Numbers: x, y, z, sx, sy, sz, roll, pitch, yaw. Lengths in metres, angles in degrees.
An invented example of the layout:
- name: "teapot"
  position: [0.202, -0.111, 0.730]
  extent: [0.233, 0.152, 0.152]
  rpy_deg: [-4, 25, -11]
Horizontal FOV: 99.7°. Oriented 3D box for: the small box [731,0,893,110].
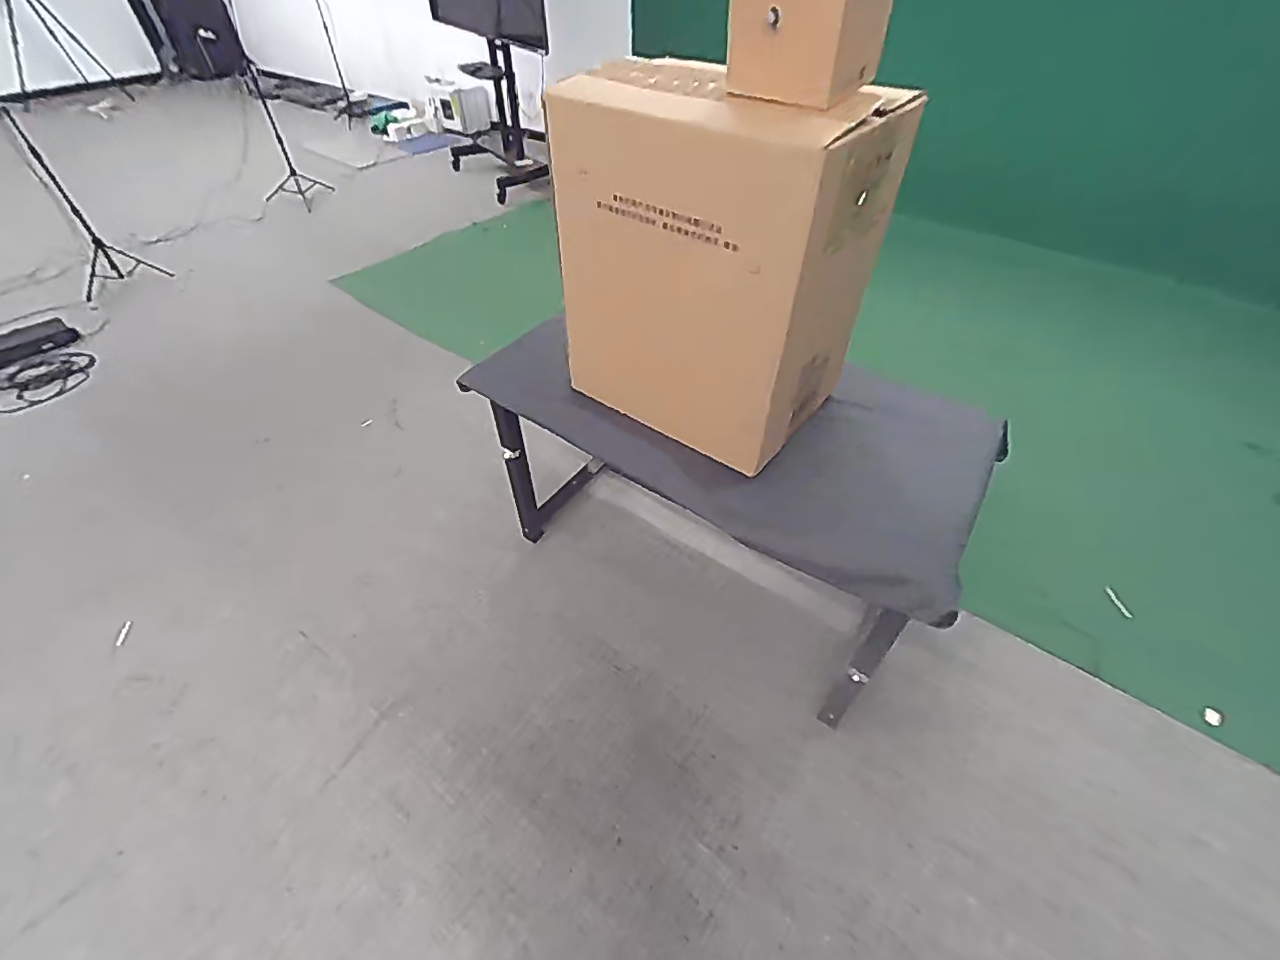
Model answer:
- name: "small box"
  position: [0.248, -0.664, 0.788]
  extent: [0.179, 0.176, 0.168]
  rpy_deg: [31, 60, 26]
